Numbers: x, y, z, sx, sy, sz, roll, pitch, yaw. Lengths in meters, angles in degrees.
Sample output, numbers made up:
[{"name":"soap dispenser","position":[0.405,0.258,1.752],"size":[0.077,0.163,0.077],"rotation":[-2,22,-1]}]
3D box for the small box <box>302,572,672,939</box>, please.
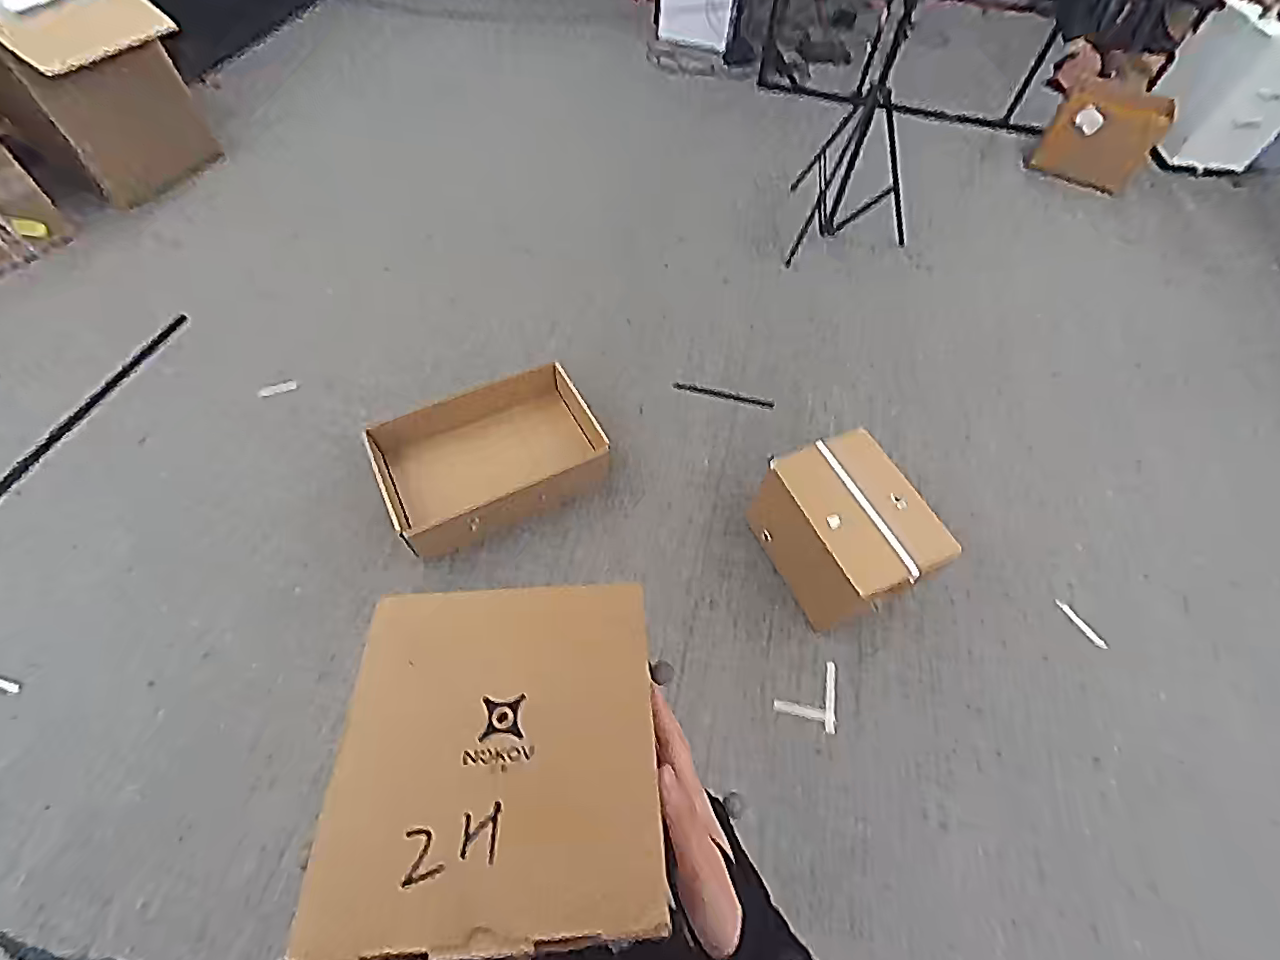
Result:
[{"name":"small box","position":[-0.073,0.179,0.352],"size":[0.168,0.176,0.179],"rotation":[-2,51,-3]}]
